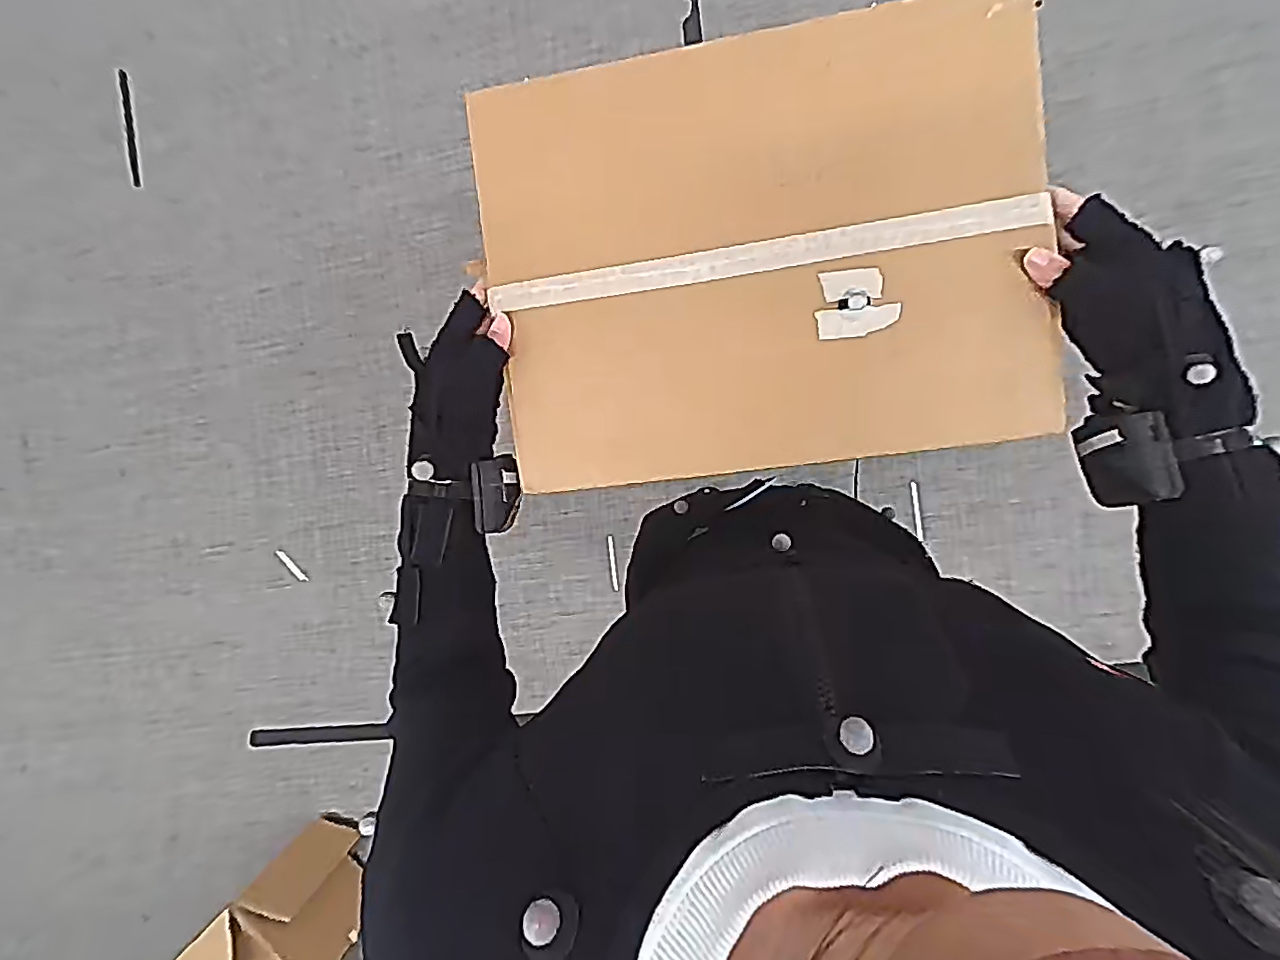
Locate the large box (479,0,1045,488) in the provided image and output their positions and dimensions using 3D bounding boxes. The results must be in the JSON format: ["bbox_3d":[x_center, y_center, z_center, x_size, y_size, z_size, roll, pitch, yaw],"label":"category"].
[{"bbox_3d":[0.100,-0.182,0.561,0.408,0.320,0.320,-7,95,6],"label":"large box"}]
